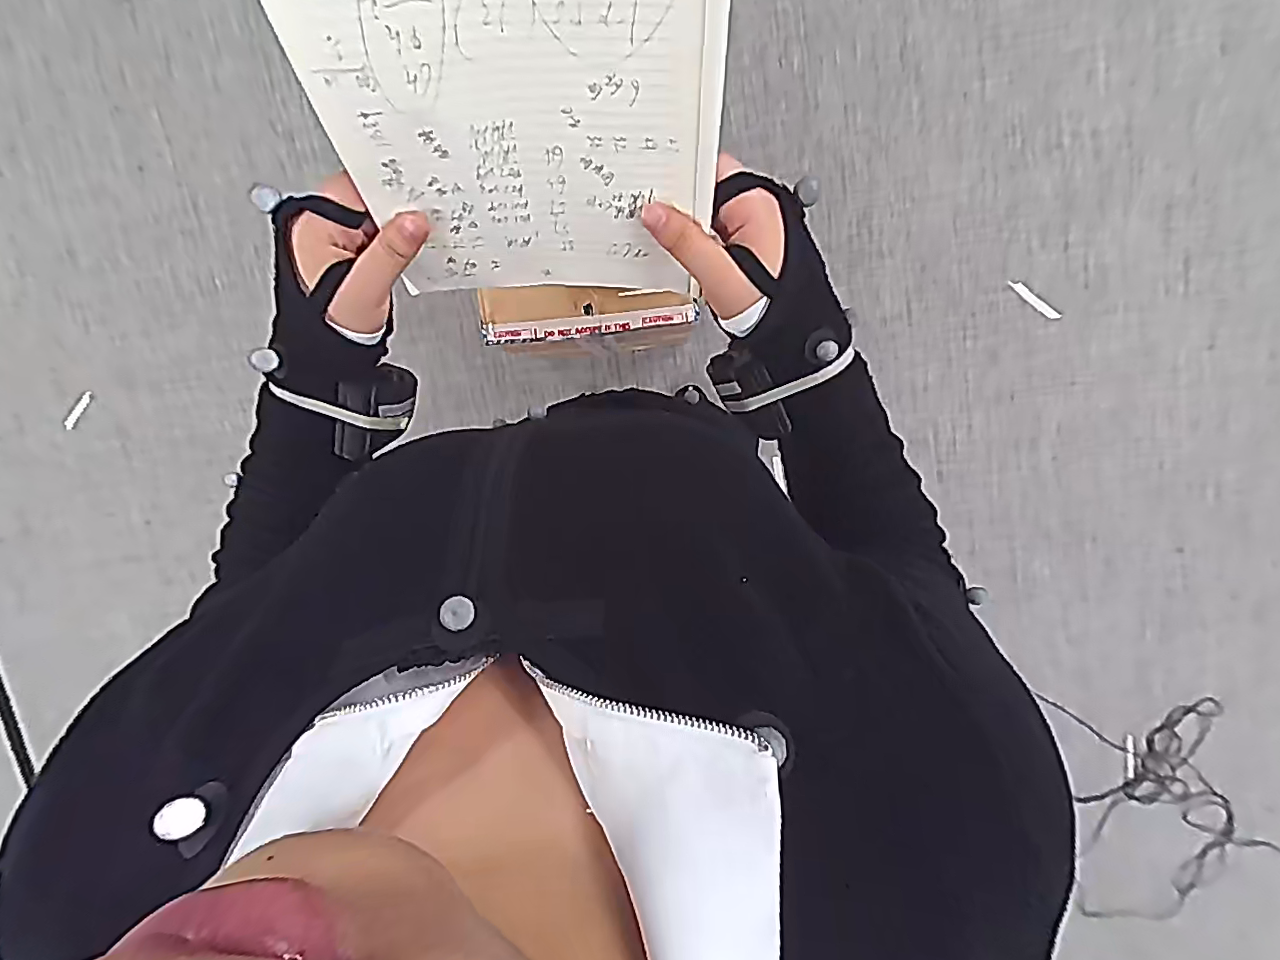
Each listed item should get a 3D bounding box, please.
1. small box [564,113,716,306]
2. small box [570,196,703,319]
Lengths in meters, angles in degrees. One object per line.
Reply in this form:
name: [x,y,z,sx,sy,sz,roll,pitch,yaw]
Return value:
small box: [0.000,-0.336,0.705,0.168,0.176,0.179,-7,100,1]
small box: [-0.004,-0.364,0.868,0.179,0.176,0.168,-10,99,2]
